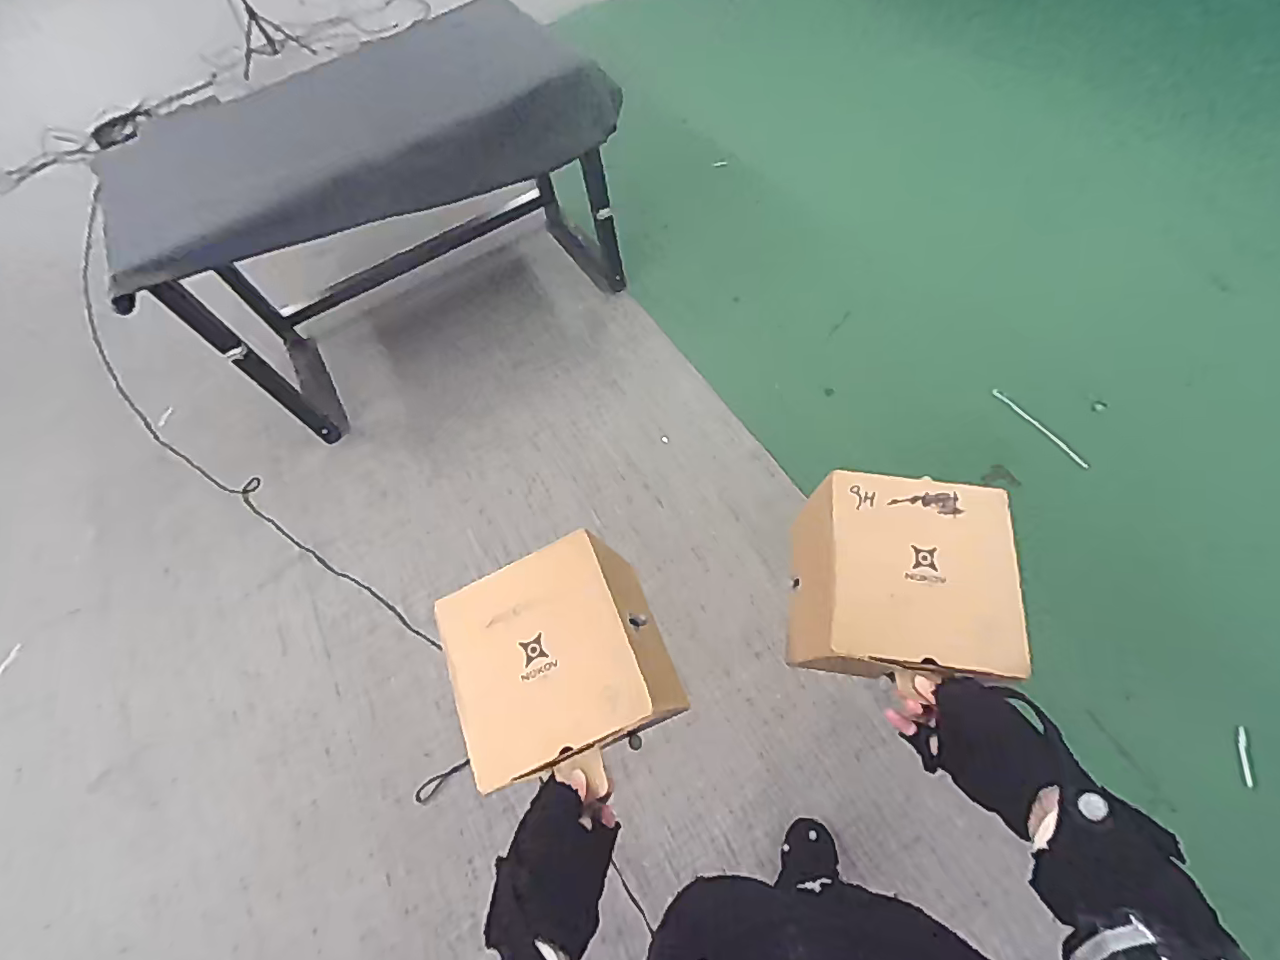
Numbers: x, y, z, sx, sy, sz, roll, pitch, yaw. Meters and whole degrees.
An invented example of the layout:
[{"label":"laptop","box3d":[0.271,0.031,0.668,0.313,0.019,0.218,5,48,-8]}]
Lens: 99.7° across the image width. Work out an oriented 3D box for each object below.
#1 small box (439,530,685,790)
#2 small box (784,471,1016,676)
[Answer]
[{"label":"small box","box3d":[-0.069,0.179,0.550,0.168,0.176,0.179,-27,64,3]},{"label":"small box","box3d":[0.255,0.108,0.573,0.168,0.176,0.179,6,69,3]}]
